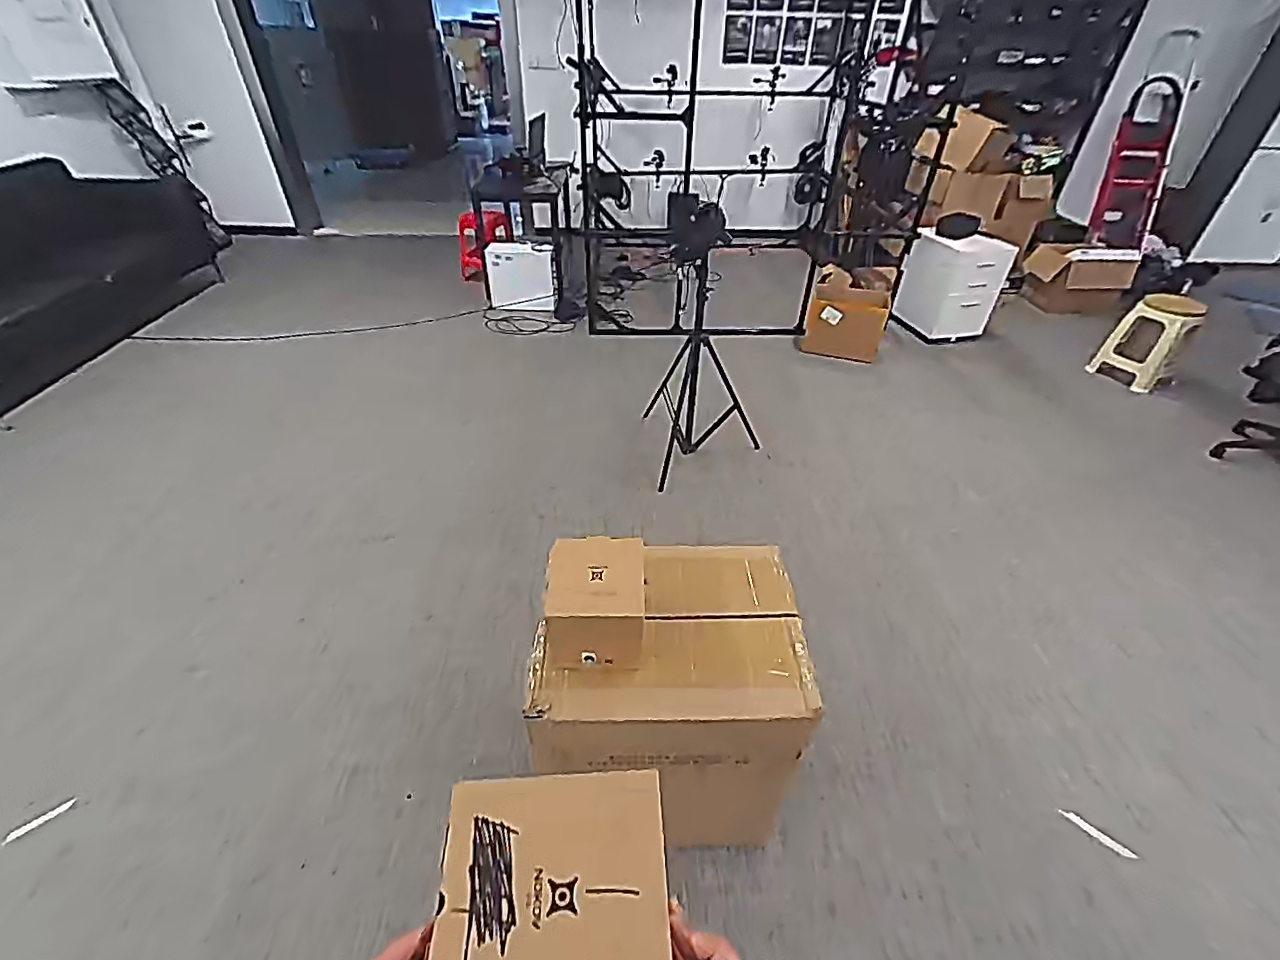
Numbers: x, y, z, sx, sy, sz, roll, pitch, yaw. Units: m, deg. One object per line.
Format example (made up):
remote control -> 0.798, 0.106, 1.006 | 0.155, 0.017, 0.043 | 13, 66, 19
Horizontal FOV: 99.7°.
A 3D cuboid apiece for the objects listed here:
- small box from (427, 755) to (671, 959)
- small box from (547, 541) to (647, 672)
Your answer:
small box -> -0.066, 0.359, 0.472 | 0.179, 0.176, 0.168 | -3, 46, -2
small box -> -0.074, 0.232, 0.997 | 0.168, 0.176, 0.179 | -1, 42, -2
